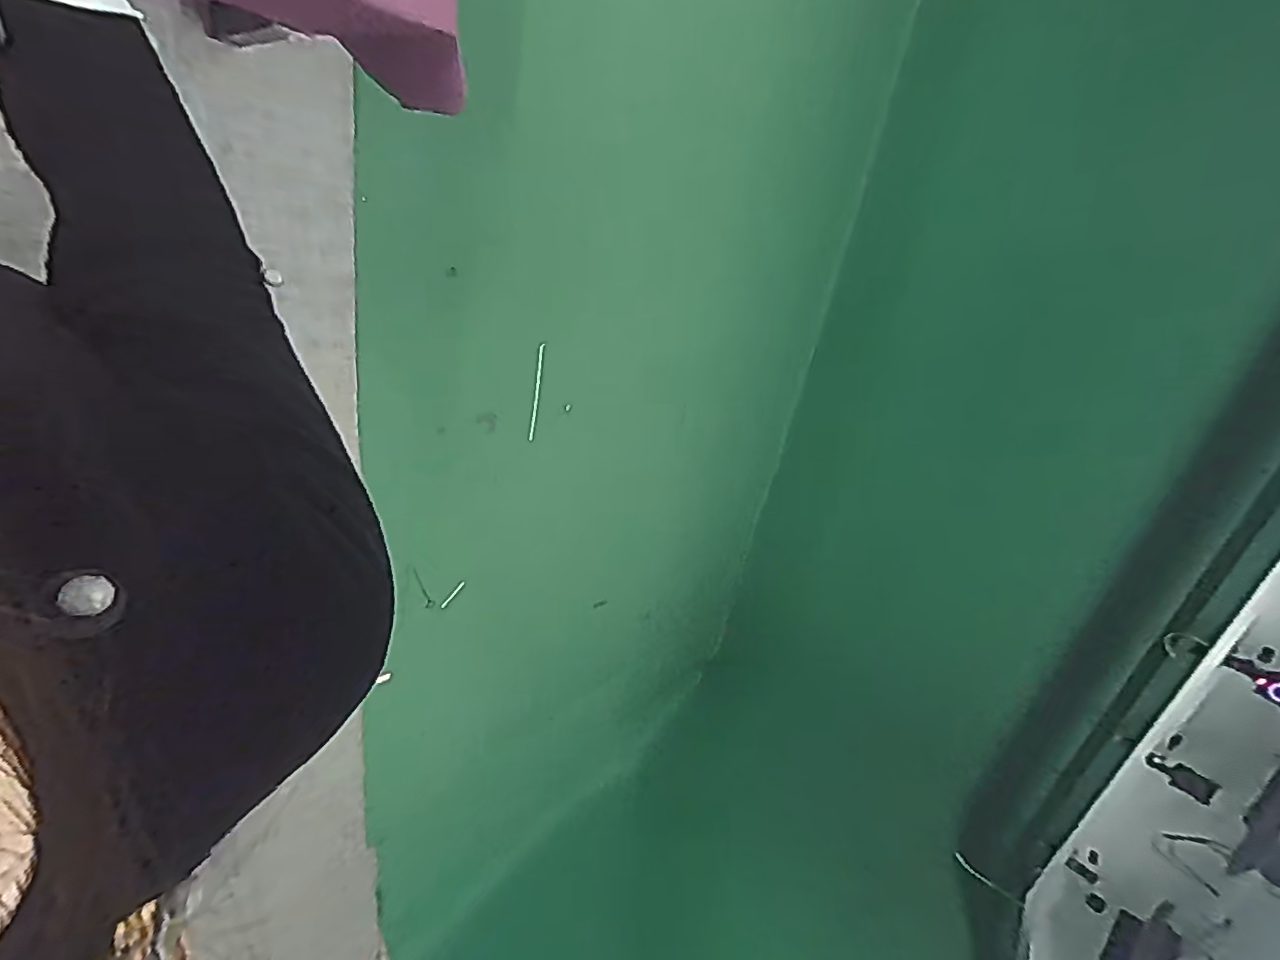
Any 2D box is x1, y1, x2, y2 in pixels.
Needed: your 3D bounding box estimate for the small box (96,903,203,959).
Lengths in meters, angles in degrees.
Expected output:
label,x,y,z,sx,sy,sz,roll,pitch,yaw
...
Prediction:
label,x,y,z,sx,sy,sz,roll,pitch,yaw
small box,-1.165,1.180,1.287,0.179,0.176,0.168,-19,129,-48
